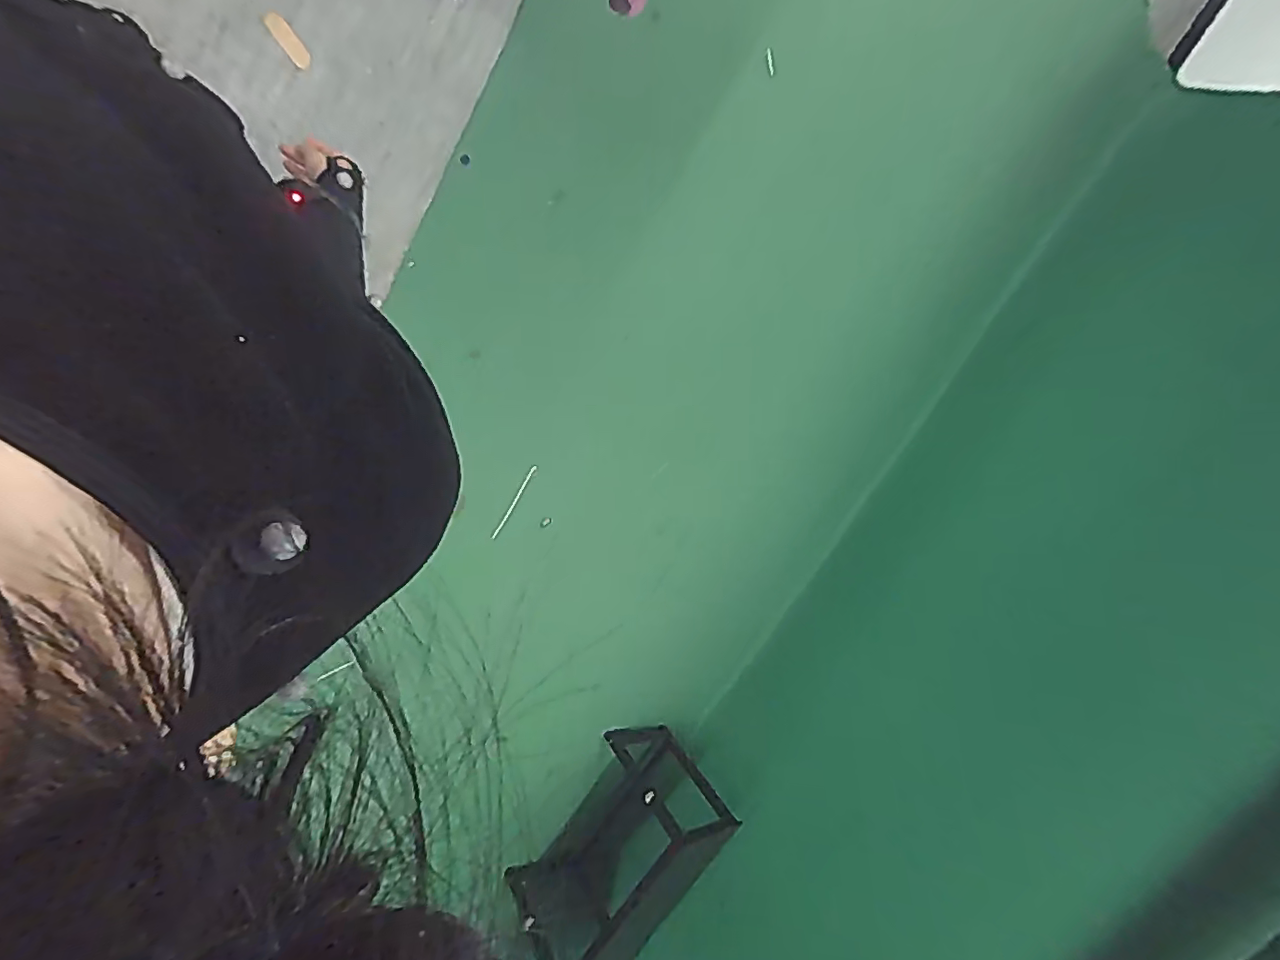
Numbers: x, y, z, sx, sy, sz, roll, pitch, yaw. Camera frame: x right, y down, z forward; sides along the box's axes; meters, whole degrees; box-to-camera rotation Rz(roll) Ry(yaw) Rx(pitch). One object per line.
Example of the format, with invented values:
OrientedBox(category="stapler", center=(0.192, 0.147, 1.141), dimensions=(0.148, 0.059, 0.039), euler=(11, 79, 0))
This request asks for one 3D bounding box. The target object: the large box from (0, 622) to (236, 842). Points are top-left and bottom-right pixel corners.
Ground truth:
OrientedBox(category="large box", center=(-1.305, 0.607, 1.381), dimensions=(0.408, 0.320, 0.320), euler=(1, 121, -42))
